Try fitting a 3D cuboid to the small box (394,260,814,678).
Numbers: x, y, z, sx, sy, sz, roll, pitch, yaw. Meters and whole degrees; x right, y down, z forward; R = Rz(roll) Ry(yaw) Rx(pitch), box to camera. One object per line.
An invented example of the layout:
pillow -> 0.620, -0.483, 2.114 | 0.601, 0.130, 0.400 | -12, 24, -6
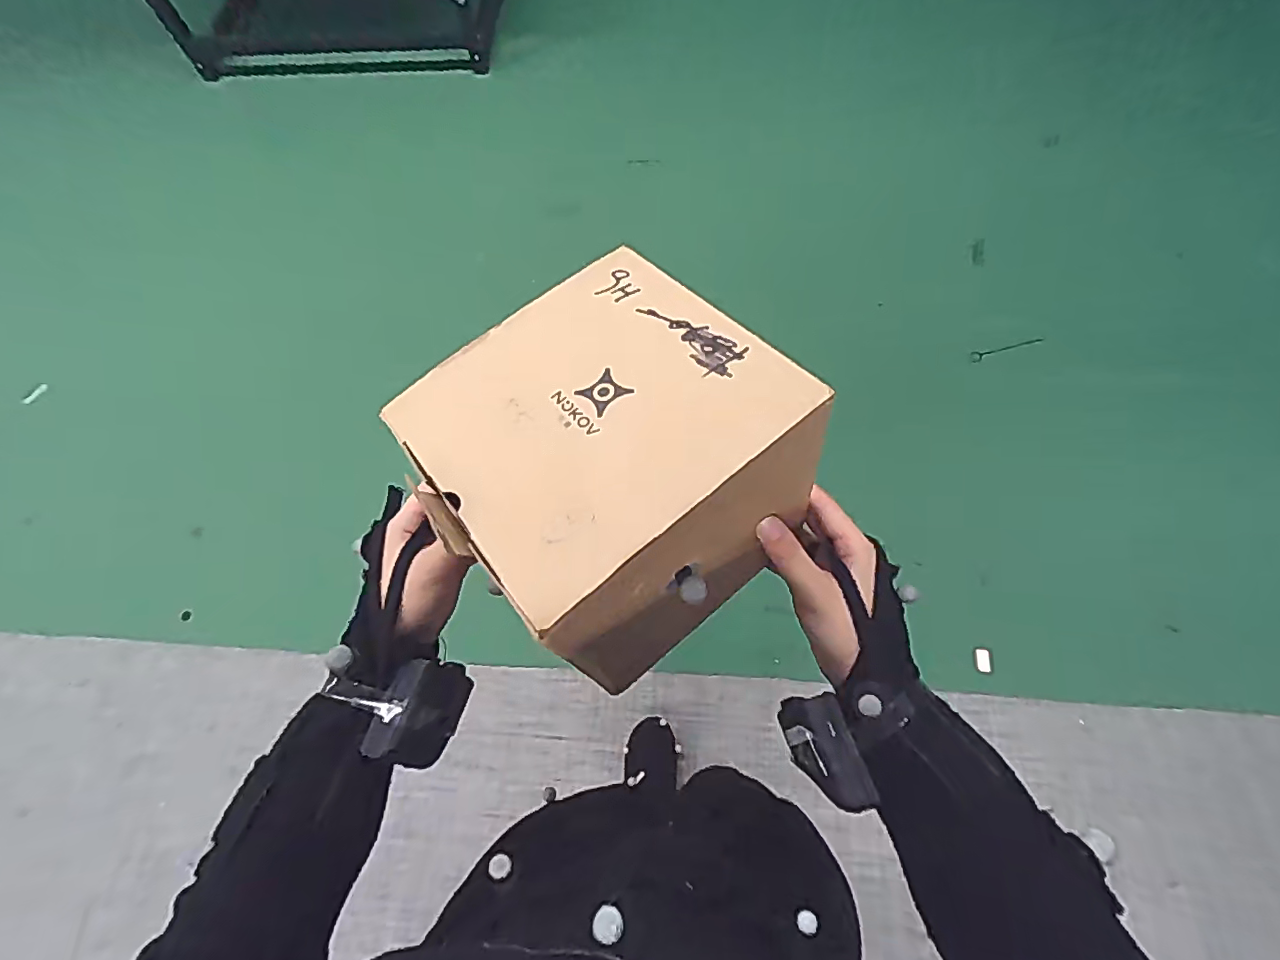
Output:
small box -> -0.013, 0.003, 0.354 | 0.179, 0.176, 0.168 | -39, 61, -12
